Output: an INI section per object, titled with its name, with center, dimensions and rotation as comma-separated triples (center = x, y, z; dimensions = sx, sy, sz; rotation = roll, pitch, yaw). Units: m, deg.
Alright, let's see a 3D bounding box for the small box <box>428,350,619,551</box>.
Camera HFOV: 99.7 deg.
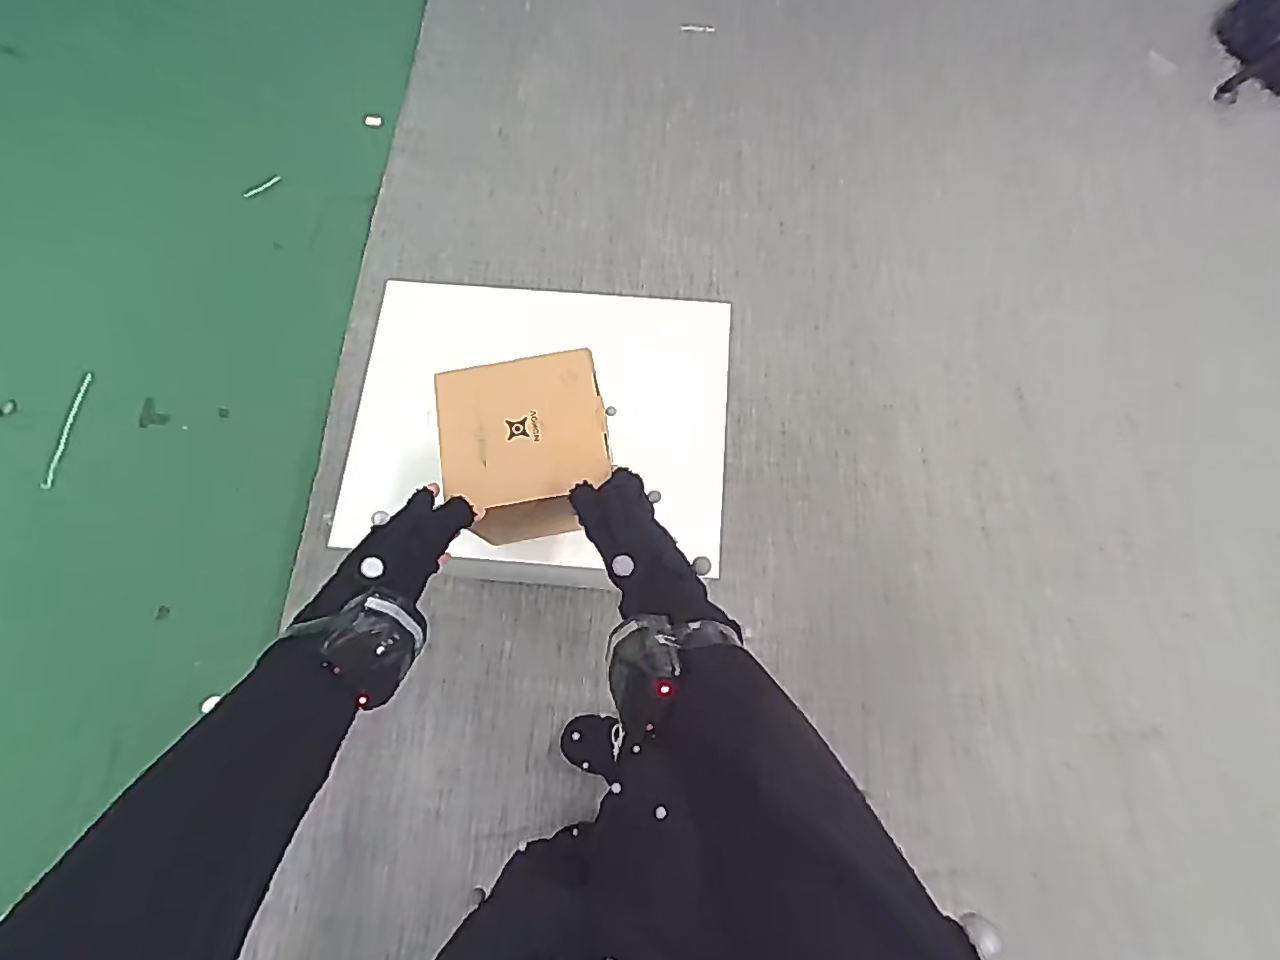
[small box]
center = -0.125, -0.024, 0.638
dimensions = 0.179, 0.176, 0.168
rotation = -13, 71, 0
